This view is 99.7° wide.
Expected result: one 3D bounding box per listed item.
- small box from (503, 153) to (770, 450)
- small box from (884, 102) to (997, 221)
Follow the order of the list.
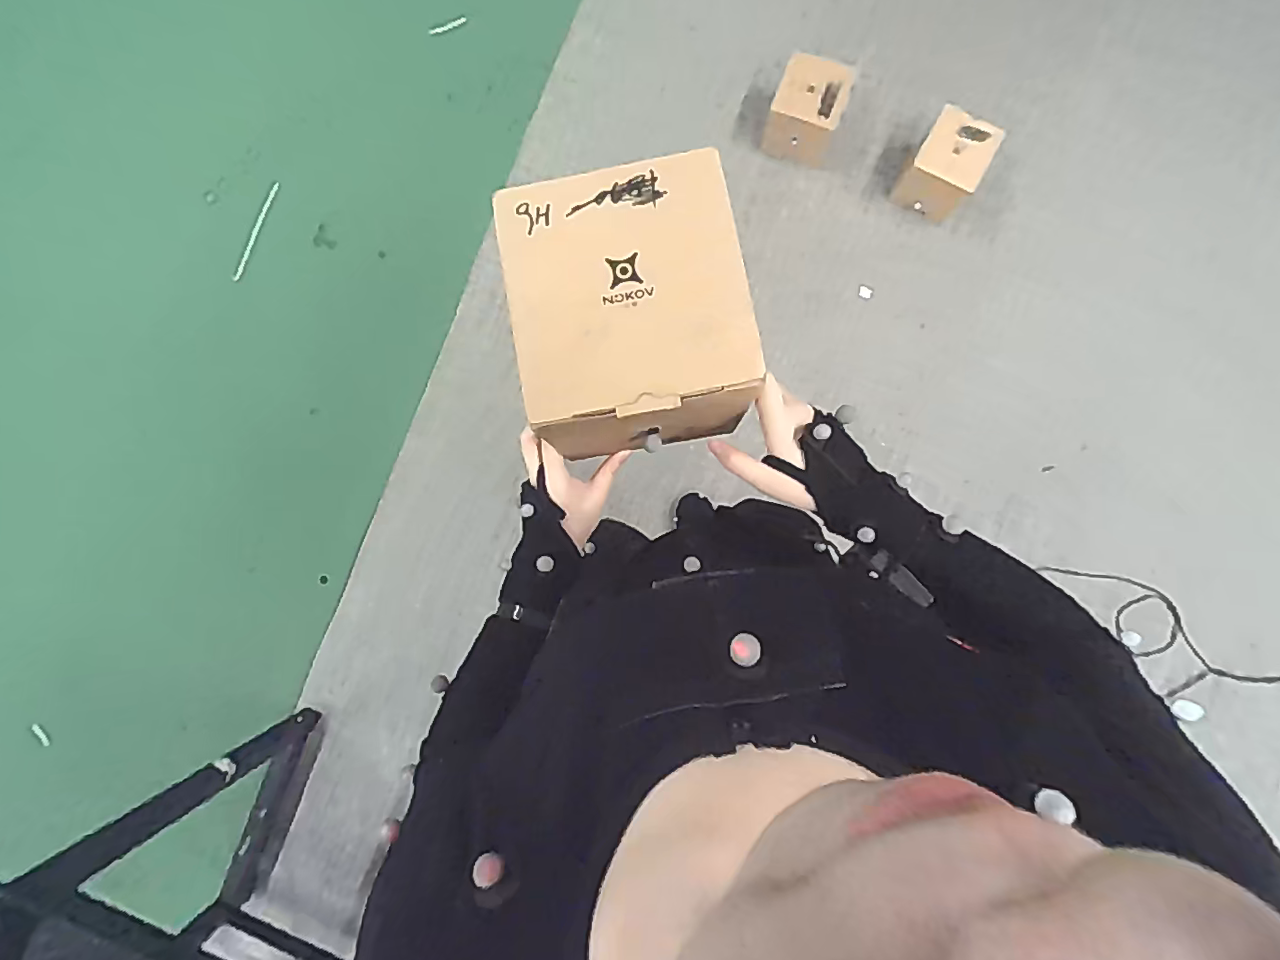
[{"bbox_3d":[0.000,-0.126,0.454,0.168,0.176,0.179,-10,85,1],"label":"small box"},{"bbox_3d":[0.773,-0.821,1.412,0.168,0.176,0.179,28,91,3],"label":"small box"}]
